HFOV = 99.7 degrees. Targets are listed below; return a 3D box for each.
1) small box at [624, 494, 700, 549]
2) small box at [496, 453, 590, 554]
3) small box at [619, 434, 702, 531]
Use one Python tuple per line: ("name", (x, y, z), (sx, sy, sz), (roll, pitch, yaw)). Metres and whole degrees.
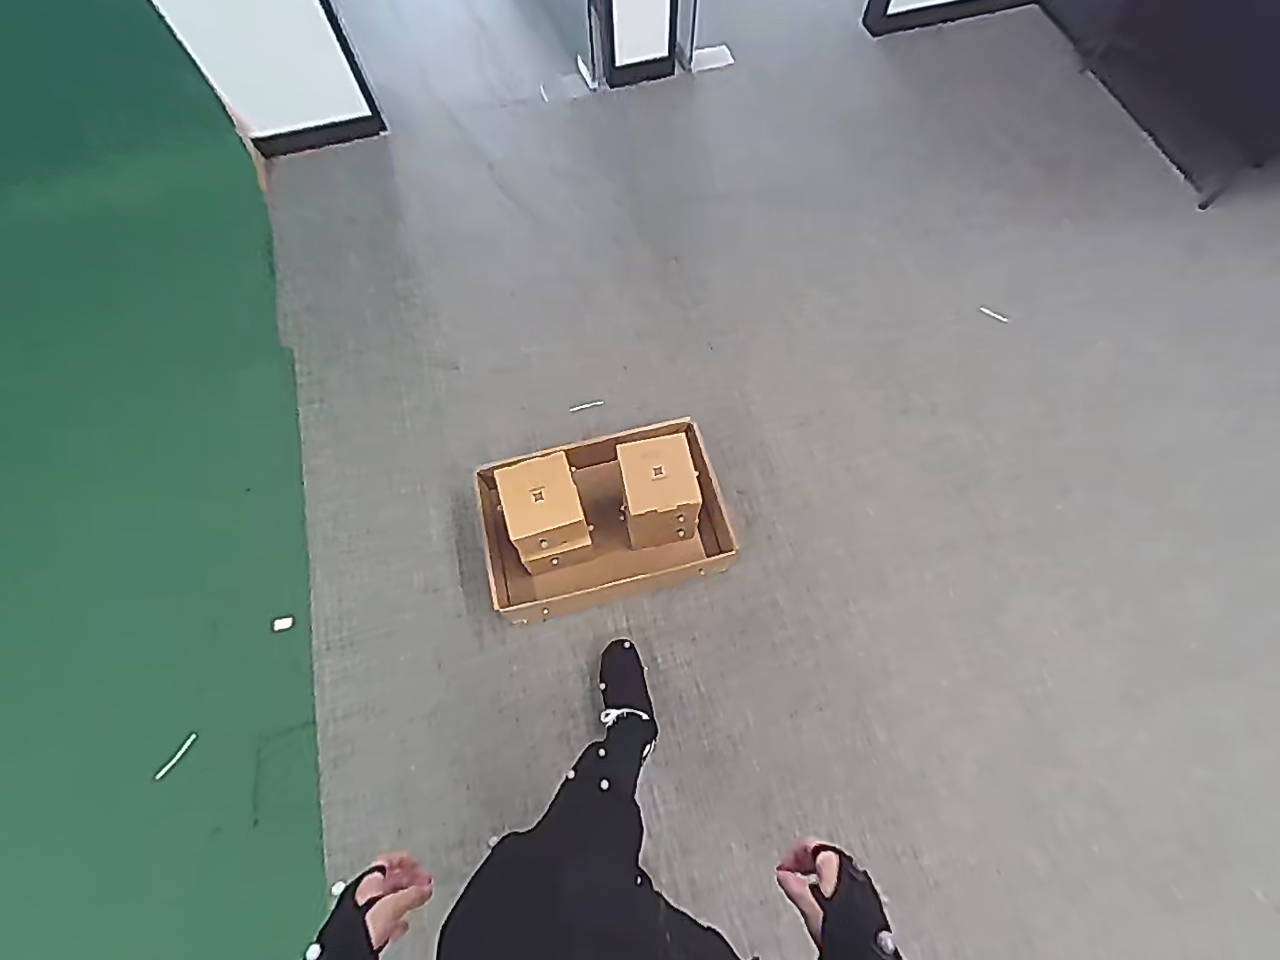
("small box", (0.053, 0.076, 1.443), (0.179, 0.176, 0.168), (-11, 69, -3))
("small box", (-0.223, 0.065, 1.277), (0.168, 0.176, 0.179), (-17, 69, -7))
("small box", (0.046, 0.015, 1.293), (0.168, 0.176, 0.179), (-10, 69, -4))
